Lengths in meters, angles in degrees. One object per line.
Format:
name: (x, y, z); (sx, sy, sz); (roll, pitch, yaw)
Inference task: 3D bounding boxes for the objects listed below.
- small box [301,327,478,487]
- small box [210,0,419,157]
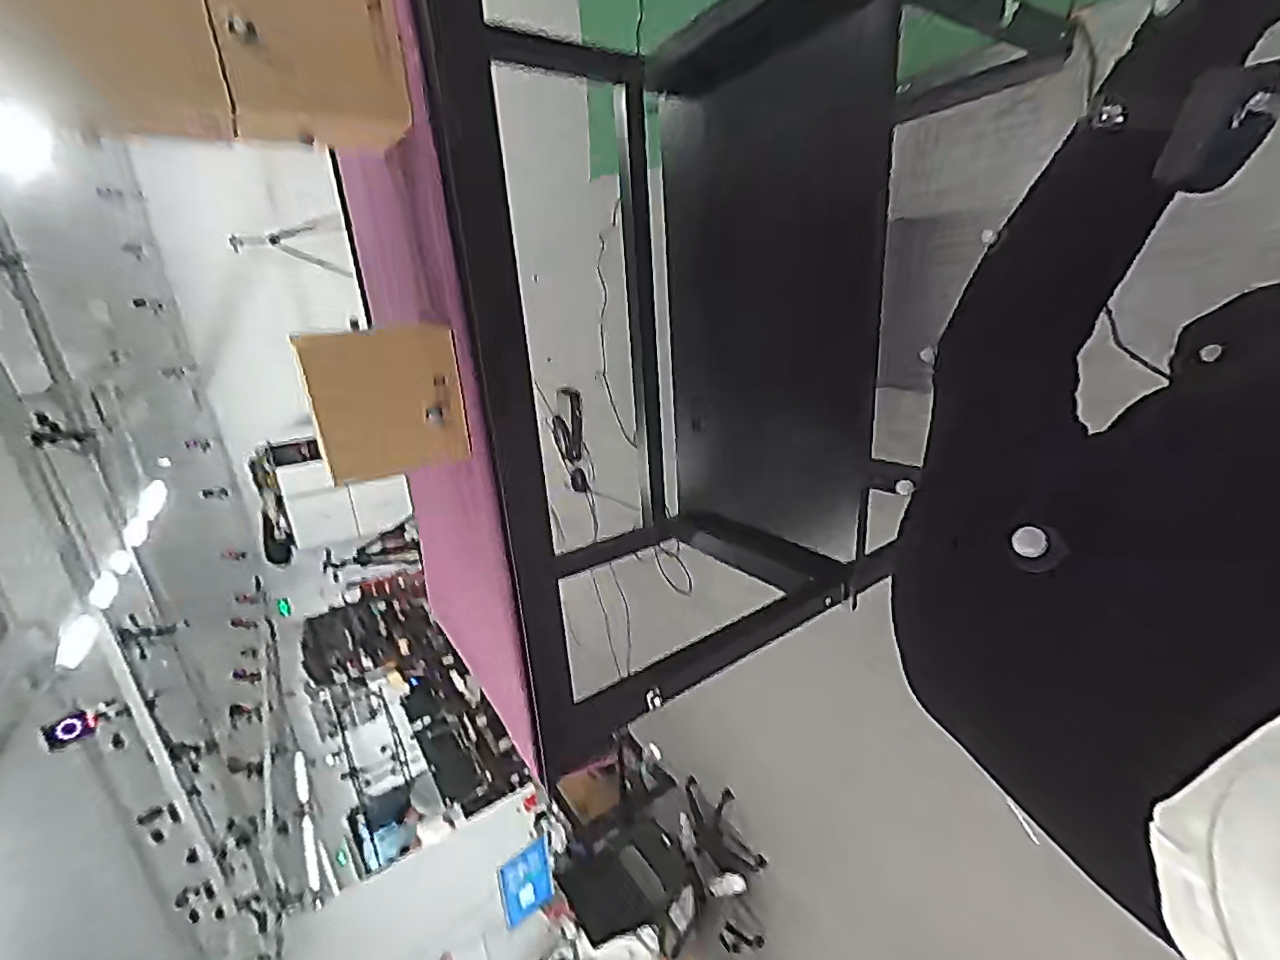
small box: (-0.328, -0.107, 0.713); (0.179, 0.176, 0.168); (25, 125, 52)
small box: (-0.359, -0.469, 0.600); (0.179, 0.176, 0.168); (26, 126, 51)
